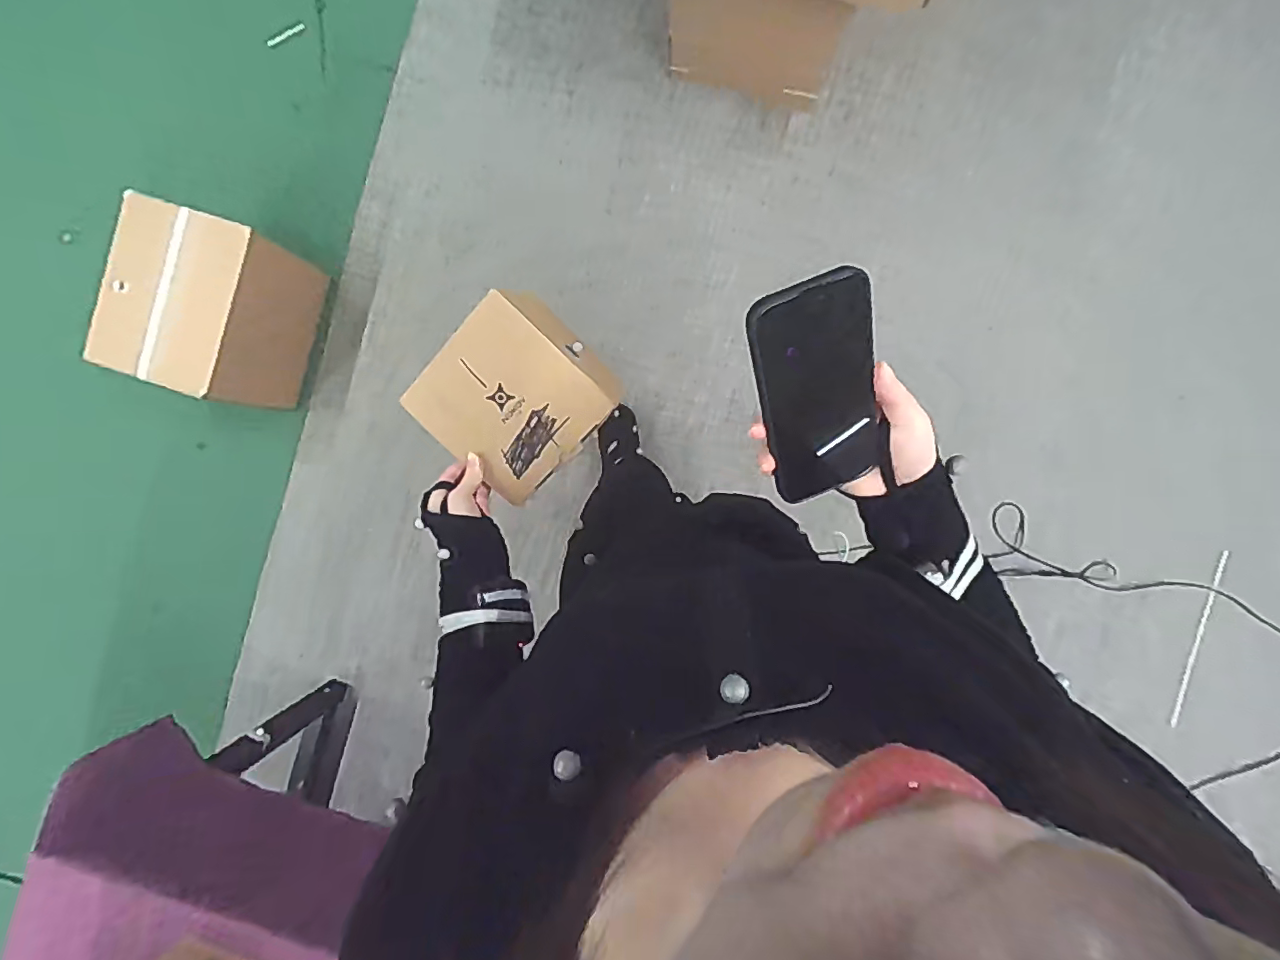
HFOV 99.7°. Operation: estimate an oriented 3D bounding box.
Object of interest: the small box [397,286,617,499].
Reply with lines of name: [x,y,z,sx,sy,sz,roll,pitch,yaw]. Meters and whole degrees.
small box: [-0.143,-0.113,0.656,0.179,0.176,0.168,43,103,-11]
